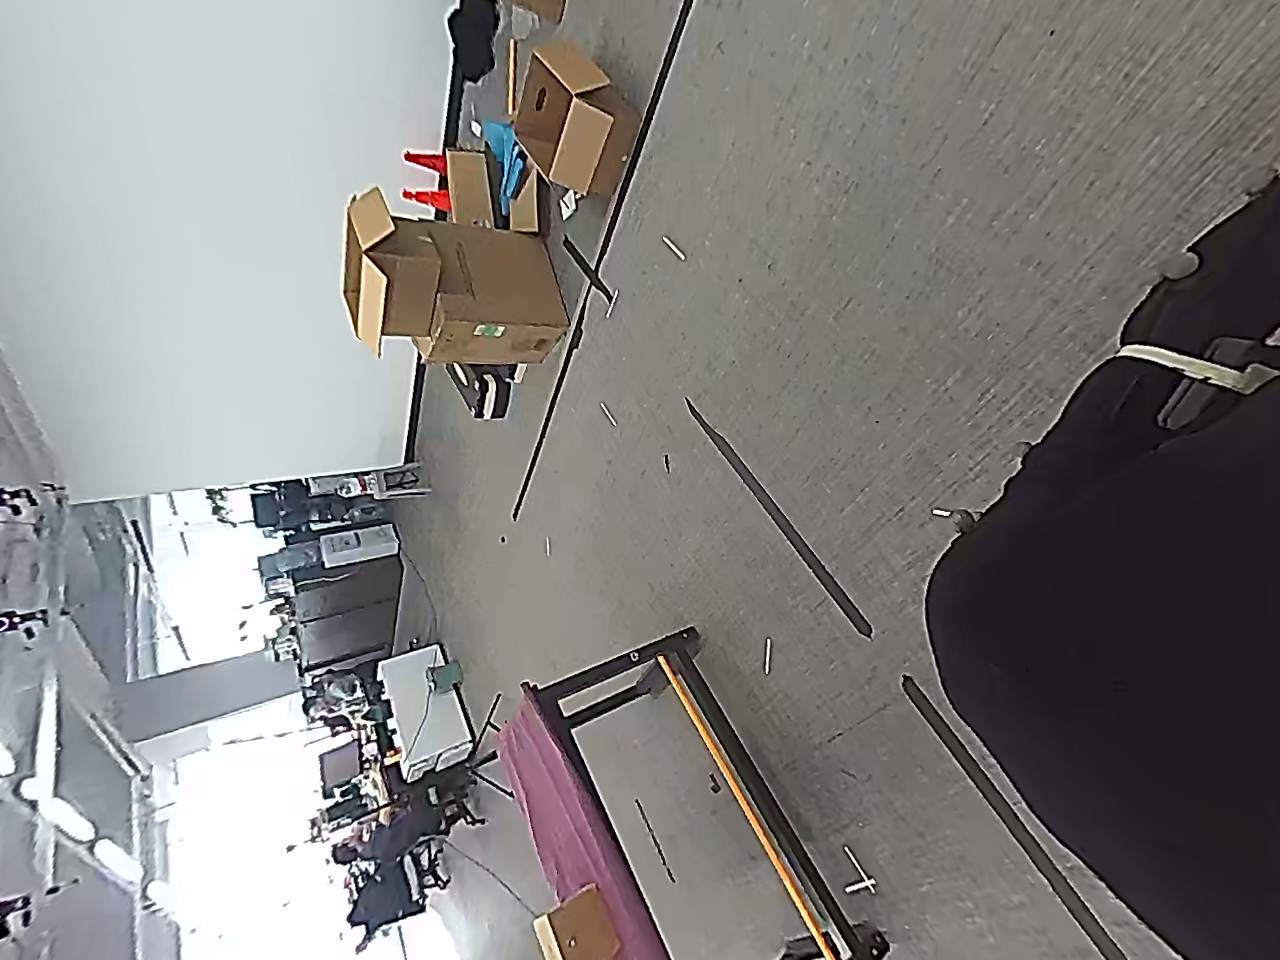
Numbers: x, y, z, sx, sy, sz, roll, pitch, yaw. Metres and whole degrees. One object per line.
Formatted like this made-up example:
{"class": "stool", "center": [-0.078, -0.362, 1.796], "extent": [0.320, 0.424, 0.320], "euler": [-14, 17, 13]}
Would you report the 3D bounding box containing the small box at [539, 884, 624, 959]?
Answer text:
{"class": "small box", "center": [-0.174, 1.338, 1.603], "extent": [0.179, 0.176, 0.168], "euler": [57, 138, 29]}
